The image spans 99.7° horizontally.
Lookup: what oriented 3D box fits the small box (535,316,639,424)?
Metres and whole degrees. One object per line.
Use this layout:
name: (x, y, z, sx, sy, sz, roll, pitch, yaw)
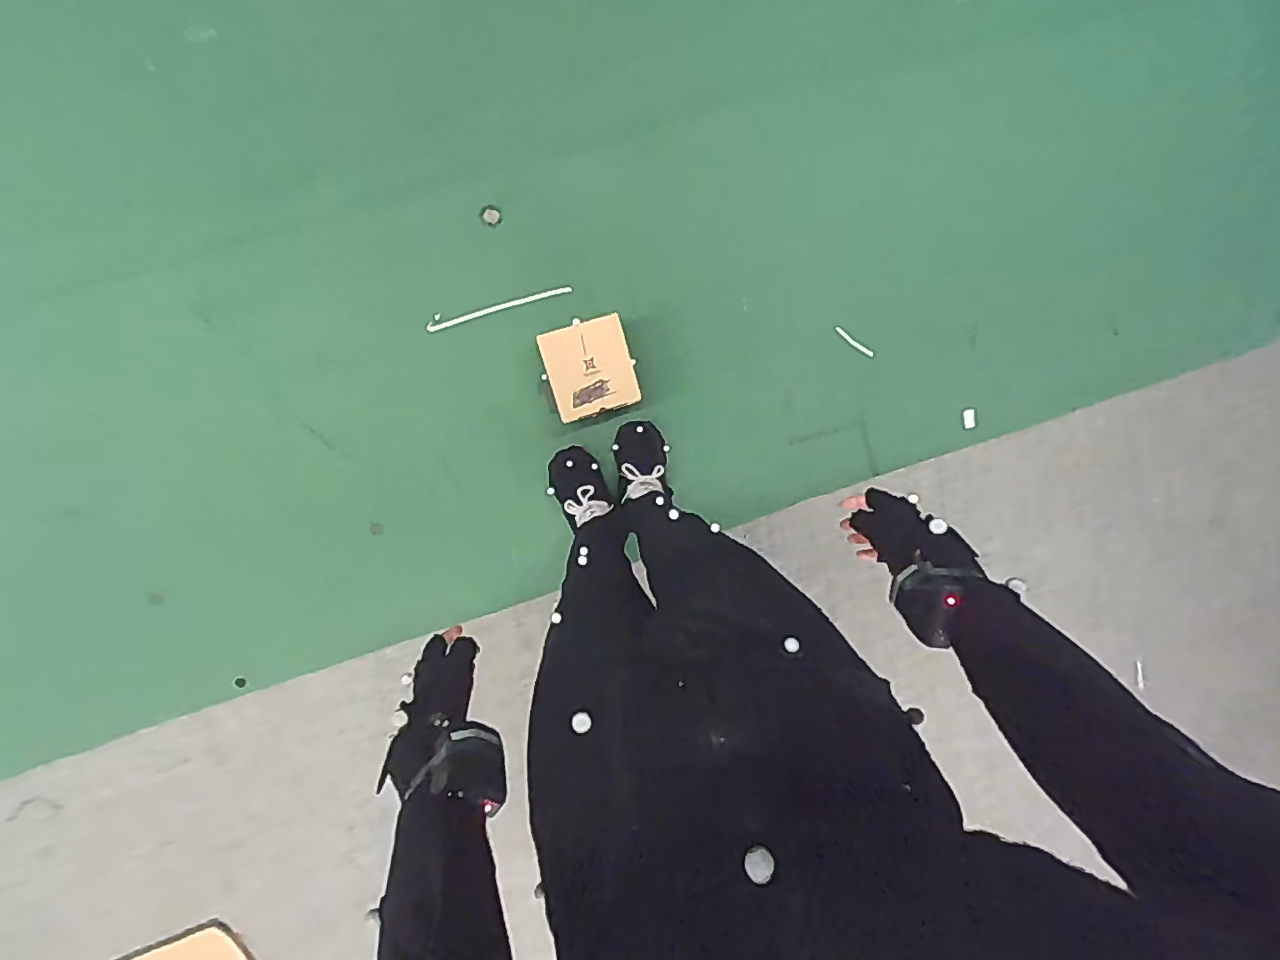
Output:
small box: (-0.110, -0.230, 1.129, 0.168, 0.176, 0.179, -18, 104, -5)
